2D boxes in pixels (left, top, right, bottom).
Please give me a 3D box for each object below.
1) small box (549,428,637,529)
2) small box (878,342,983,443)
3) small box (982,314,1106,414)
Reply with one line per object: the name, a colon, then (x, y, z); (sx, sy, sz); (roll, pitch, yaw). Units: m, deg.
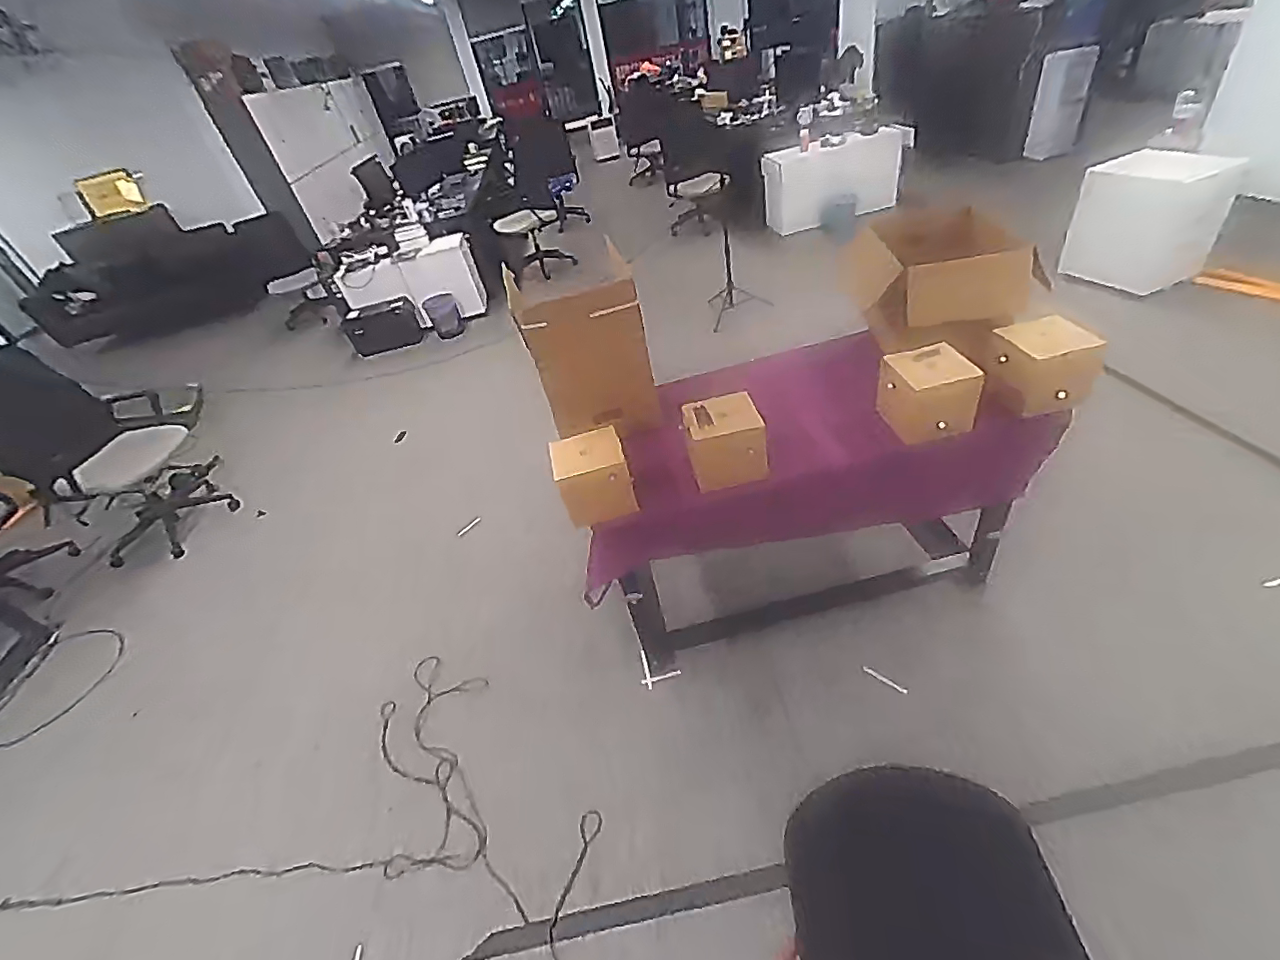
small box: (-0.119, -0.001, 1.371); (0.179, 0.176, 0.168); (-16, 39, -3)
small box: (0.718, -0.220, 1.363); (0.168, 0.176, 0.179); (-14, 40, 2)
small box: (0.994, -0.289, 1.353); (0.168, 0.176, 0.179); (-14, 39, 3)
